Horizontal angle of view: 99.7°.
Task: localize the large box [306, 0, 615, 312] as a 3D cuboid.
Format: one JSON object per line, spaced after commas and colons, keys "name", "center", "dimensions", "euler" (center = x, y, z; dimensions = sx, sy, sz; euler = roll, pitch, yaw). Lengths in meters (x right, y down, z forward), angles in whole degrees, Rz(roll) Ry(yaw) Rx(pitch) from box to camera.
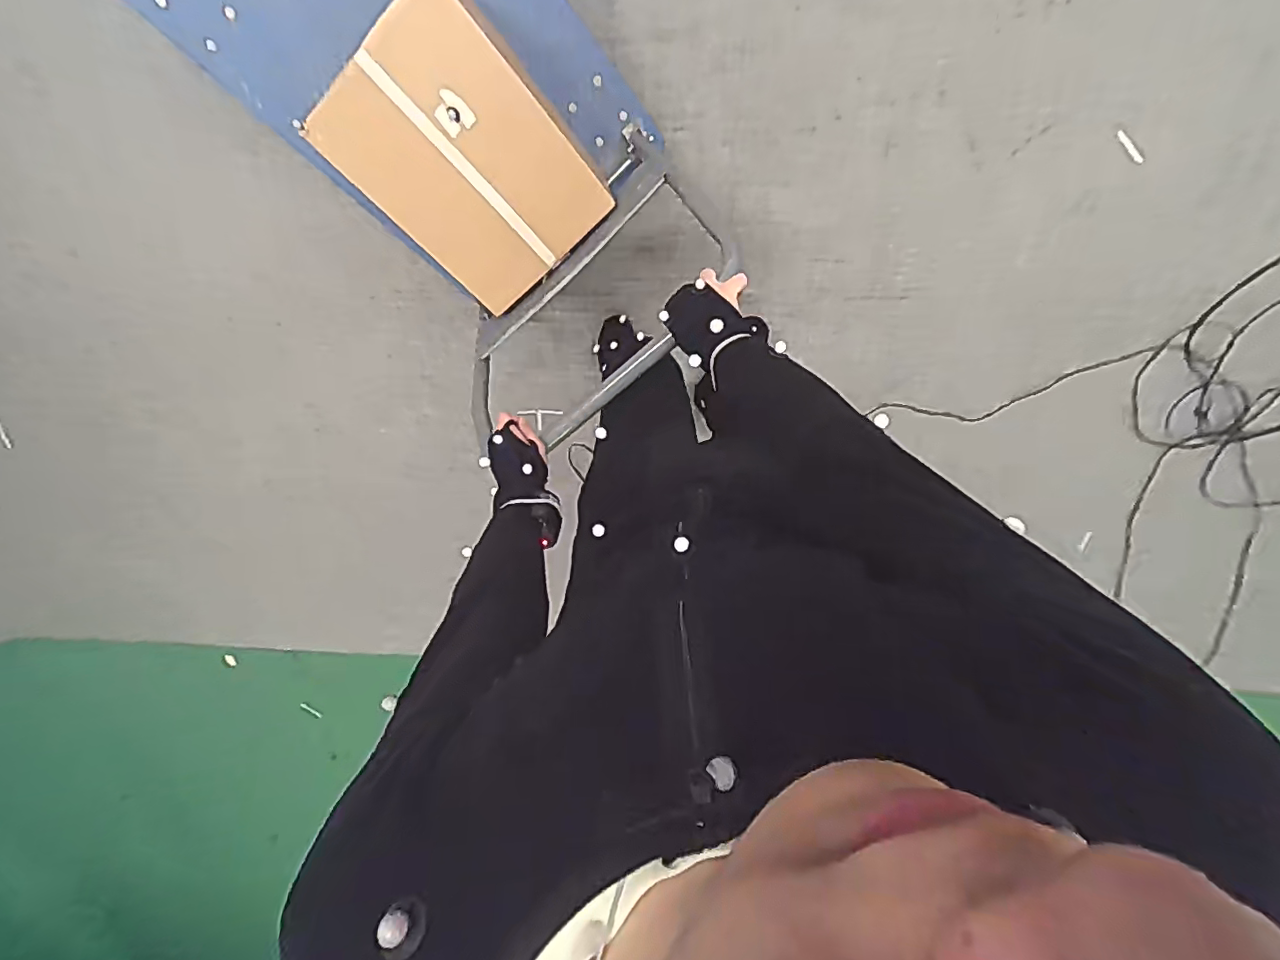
{"name": "large box", "center": [-0.299, -0.606, 1.013], "dimensions": [0.320, 0.320, 0.408], "euler": [-37, 125, 19]}
